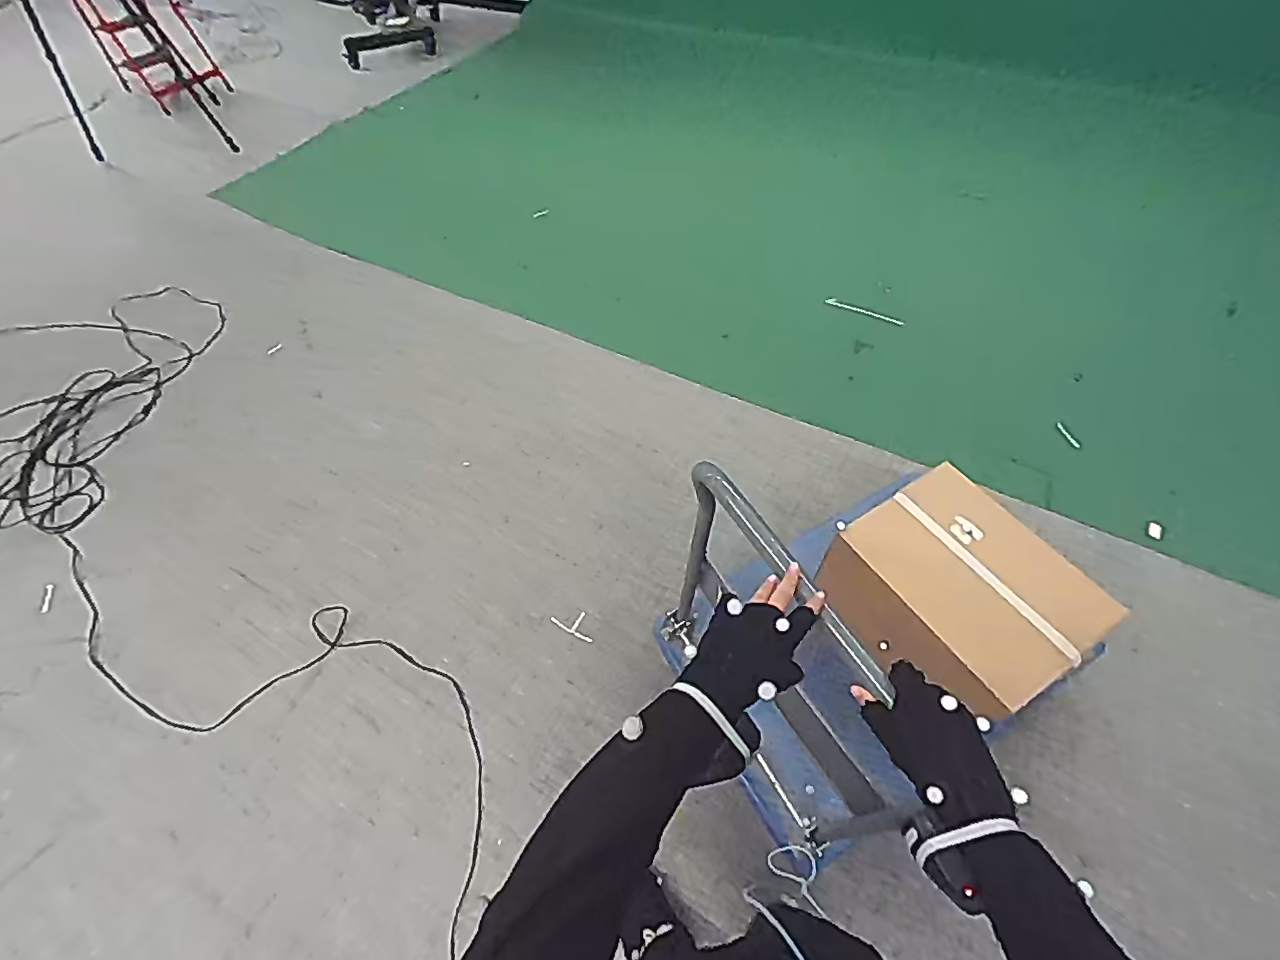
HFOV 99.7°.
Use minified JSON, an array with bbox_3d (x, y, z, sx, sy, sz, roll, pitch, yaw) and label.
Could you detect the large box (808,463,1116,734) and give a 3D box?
[{"bbox_3d":[0.631,0.248,1.147,0.320,0.320,0.408,-29,57,-16],"label":"large box"}]
